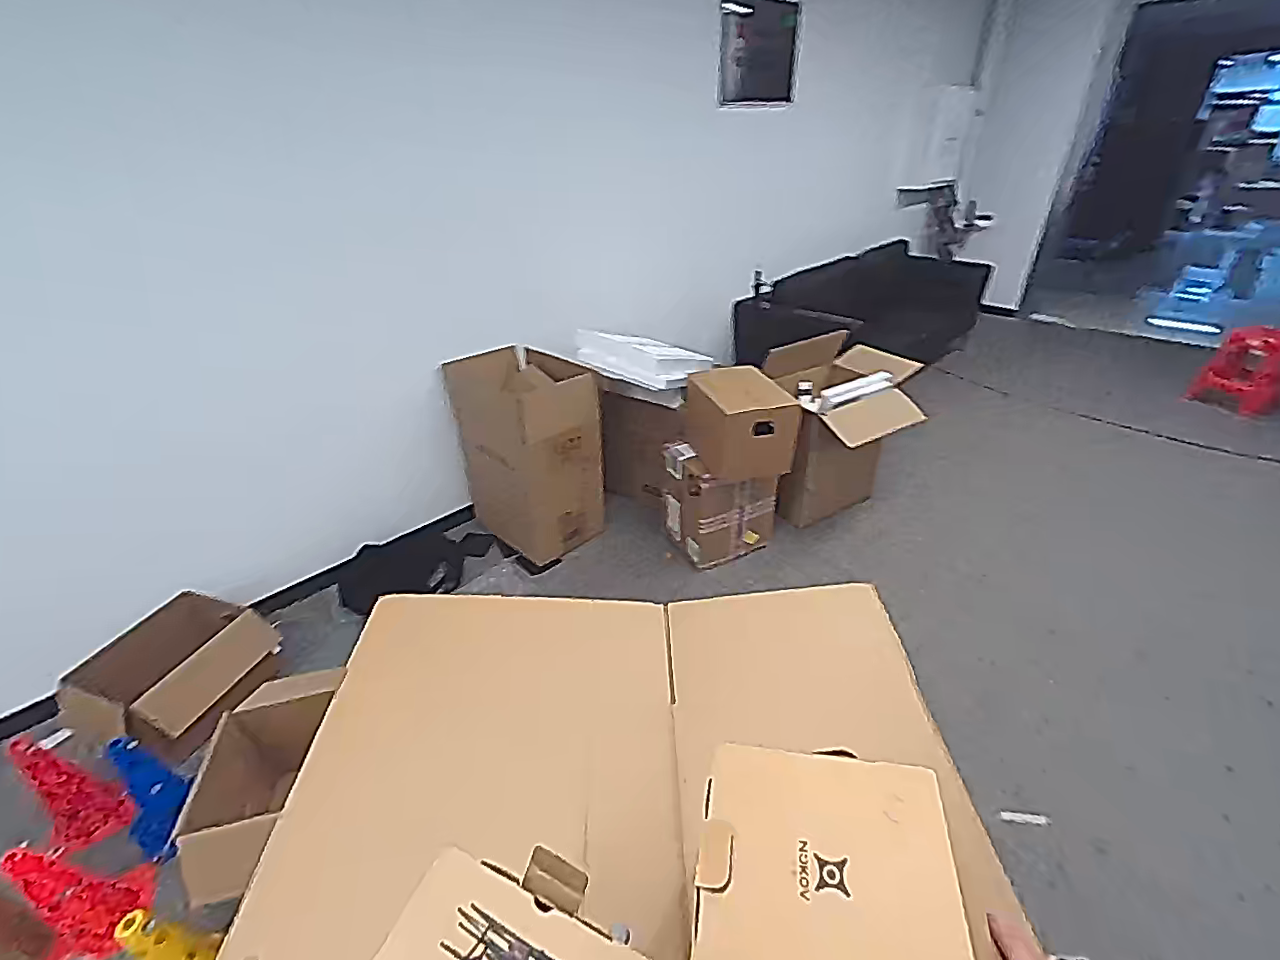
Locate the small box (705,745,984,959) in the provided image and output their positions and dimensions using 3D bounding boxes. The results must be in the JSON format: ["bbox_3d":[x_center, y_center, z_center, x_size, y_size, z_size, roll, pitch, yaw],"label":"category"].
[{"bbox_3d":[0.153,0.344,0.438,0.179,0.176,0.168,0,40,15],"label":"small box"}]
